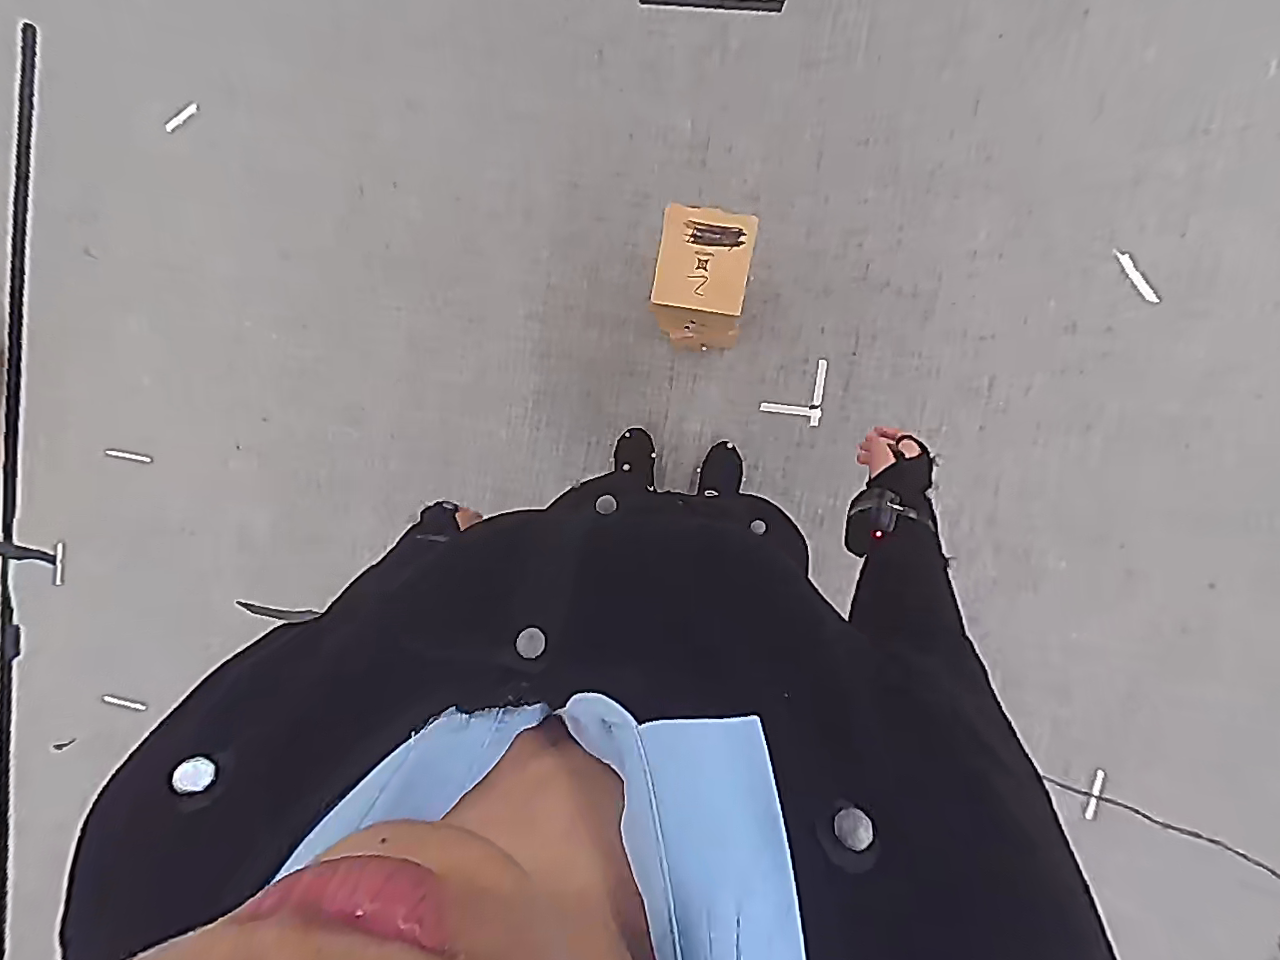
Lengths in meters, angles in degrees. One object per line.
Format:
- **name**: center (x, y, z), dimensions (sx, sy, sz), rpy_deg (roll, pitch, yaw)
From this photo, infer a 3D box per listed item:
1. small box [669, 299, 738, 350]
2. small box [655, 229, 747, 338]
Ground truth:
- **small box**: center (0.156, -0.432, 1.357), dimensions (0.168, 0.176, 0.179), rpy_deg (-2, 94, 7)
- **small box**: center (0.132, -0.426, 1.196), dimensions (0.168, 0.176, 0.179), rpy_deg (10, 96, 5)
